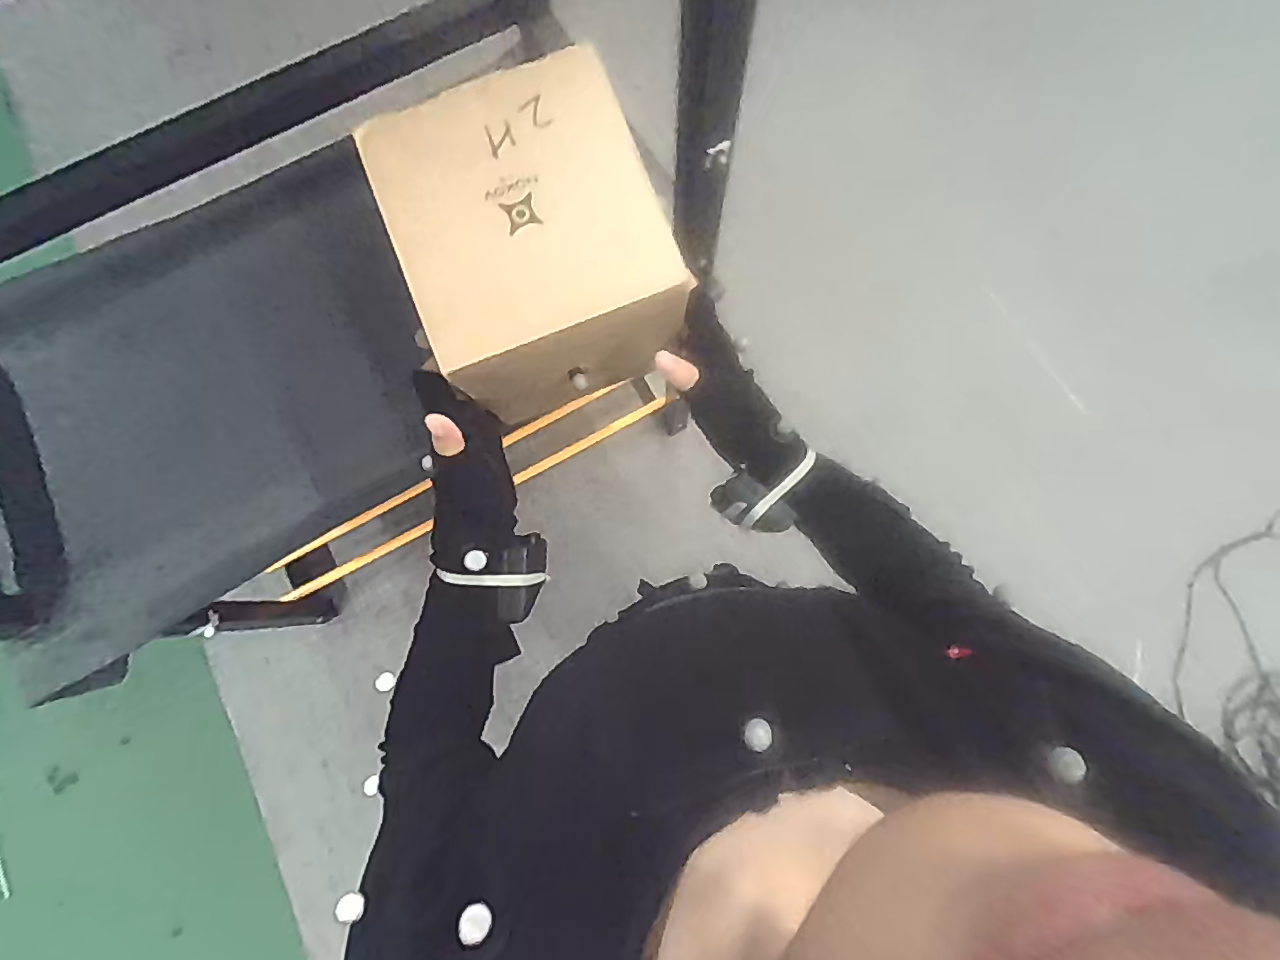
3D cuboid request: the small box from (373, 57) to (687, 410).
[{"bbox_3d":[-0.071,-0.167,0.431,0.168,0.176,0.179,-20,84,-1],"label":"small box"}]
